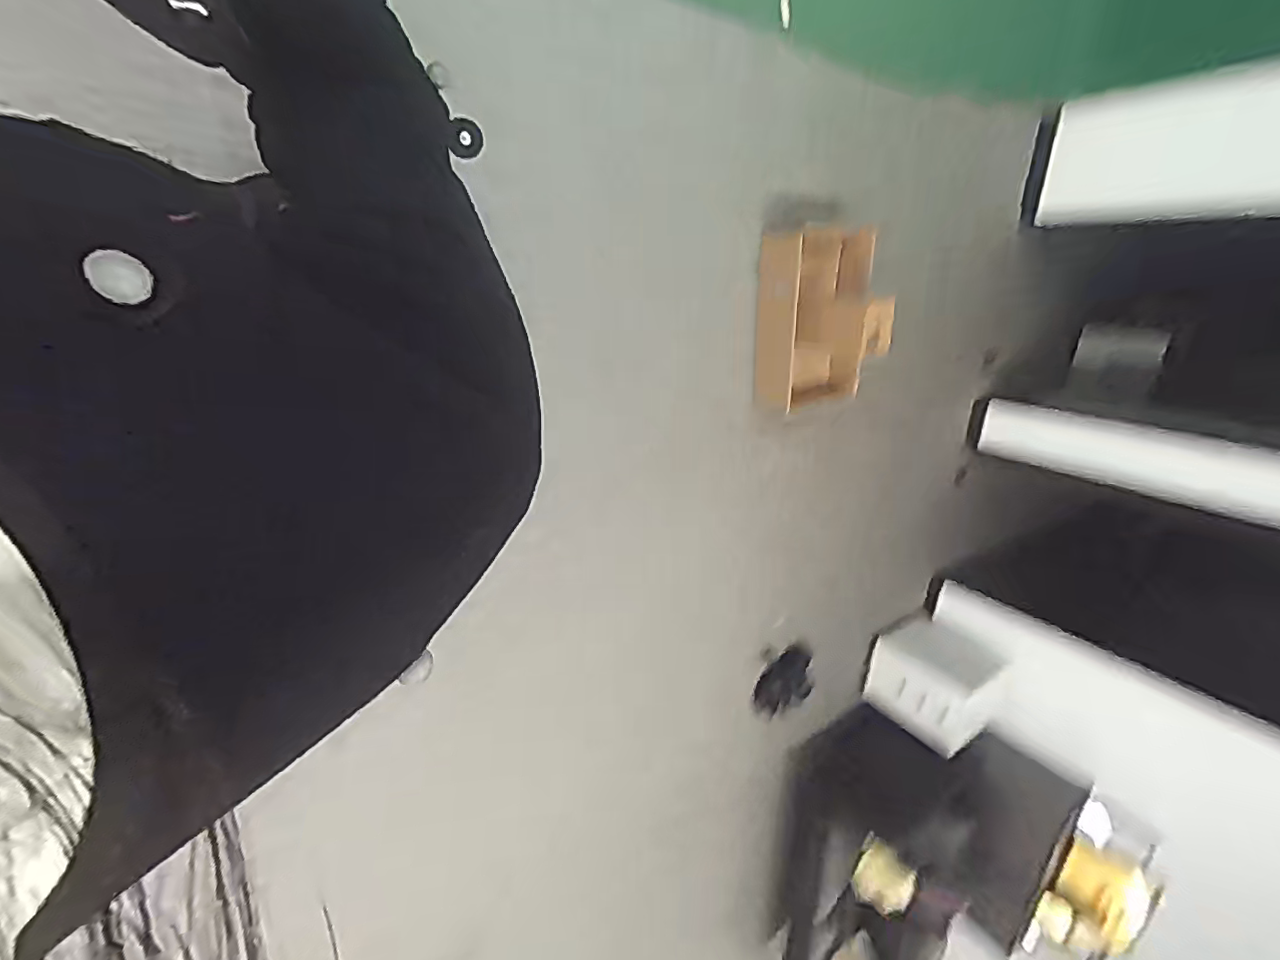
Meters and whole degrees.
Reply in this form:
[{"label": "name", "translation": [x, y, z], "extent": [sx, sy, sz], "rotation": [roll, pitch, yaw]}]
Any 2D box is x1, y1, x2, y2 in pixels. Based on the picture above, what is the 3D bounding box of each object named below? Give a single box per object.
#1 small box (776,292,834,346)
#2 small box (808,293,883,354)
[{"label": "small box", "translation": [0.614, -0.588, 1.961], "extent": [0.179, 0.176, 0.168], "rotation": [-20, 120, -32]}, {"label": "small box", "translation": [0.695, -0.539, 1.847], "extent": [0.168, 0.176, 0.179], "rotation": [-18, 118, -32]}]
